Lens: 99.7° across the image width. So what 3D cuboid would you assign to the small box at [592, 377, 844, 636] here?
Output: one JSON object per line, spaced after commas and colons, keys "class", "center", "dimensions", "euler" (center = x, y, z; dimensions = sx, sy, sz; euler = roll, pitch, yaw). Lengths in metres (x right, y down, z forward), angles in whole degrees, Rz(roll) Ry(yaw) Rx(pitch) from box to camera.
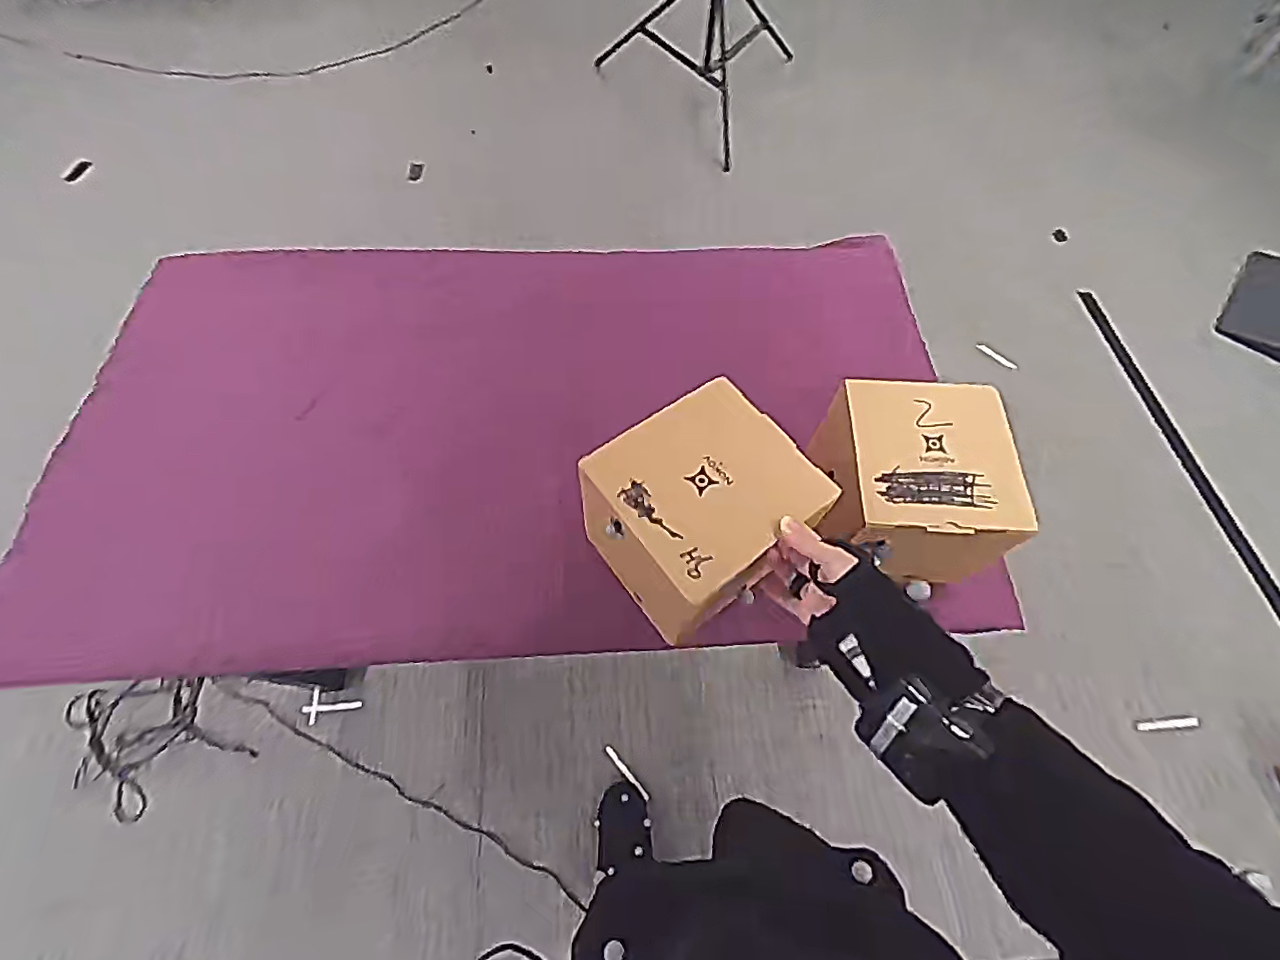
{"class": "small box", "center": [0.063, 0.033, 0.554], "dimensions": [0.179, 0.176, 0.168], "euler": [-29, 68, -18]}
